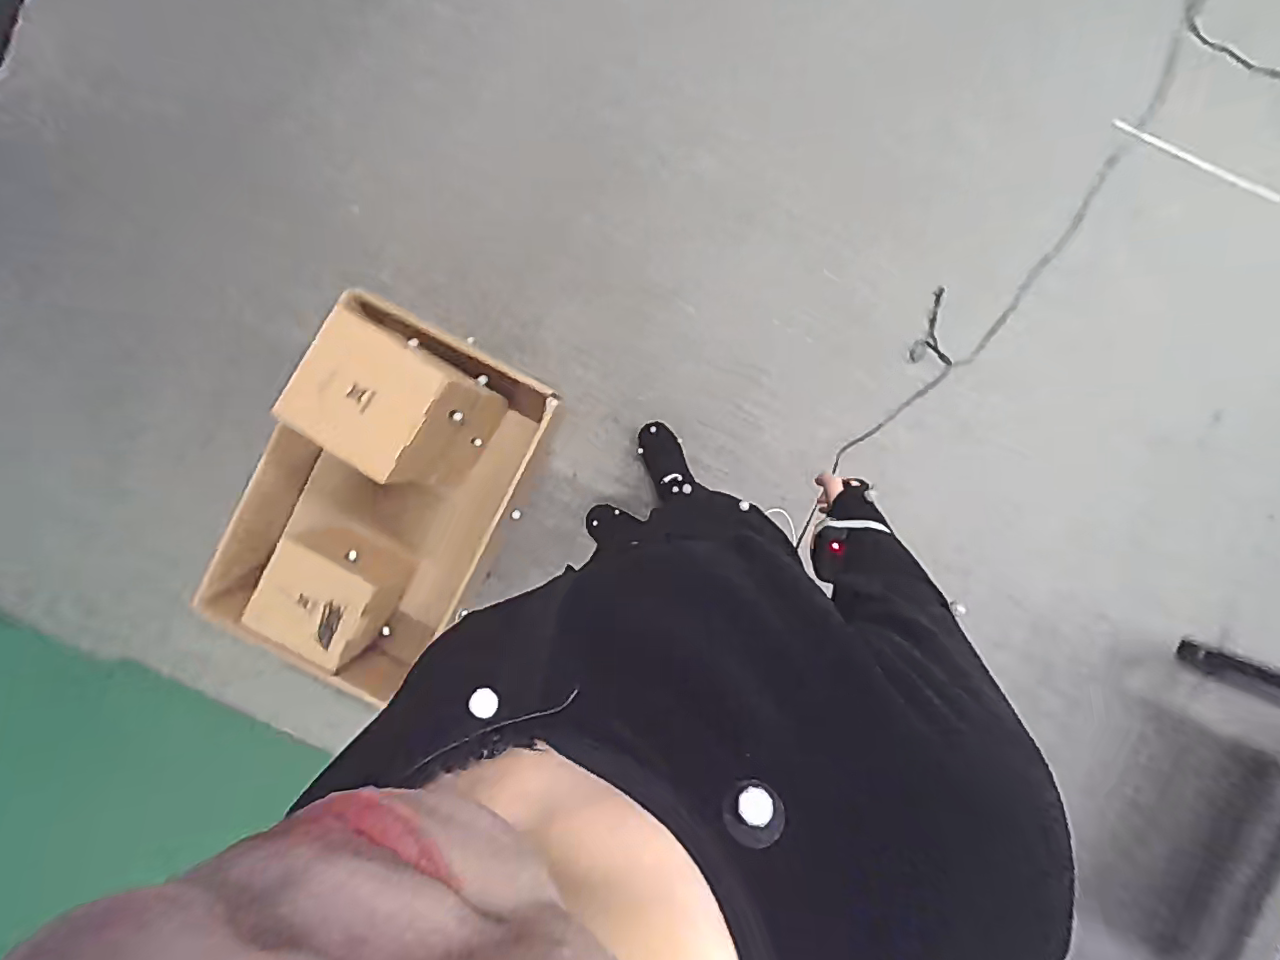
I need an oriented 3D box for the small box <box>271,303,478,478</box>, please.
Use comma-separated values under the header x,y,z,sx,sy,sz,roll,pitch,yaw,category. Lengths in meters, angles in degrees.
x,y,z,sx,sy,sz,roll,pitch,yaw,category
-0.363,-0.120,0.779,0.179,0.176,0.168,34,92,0,small box
